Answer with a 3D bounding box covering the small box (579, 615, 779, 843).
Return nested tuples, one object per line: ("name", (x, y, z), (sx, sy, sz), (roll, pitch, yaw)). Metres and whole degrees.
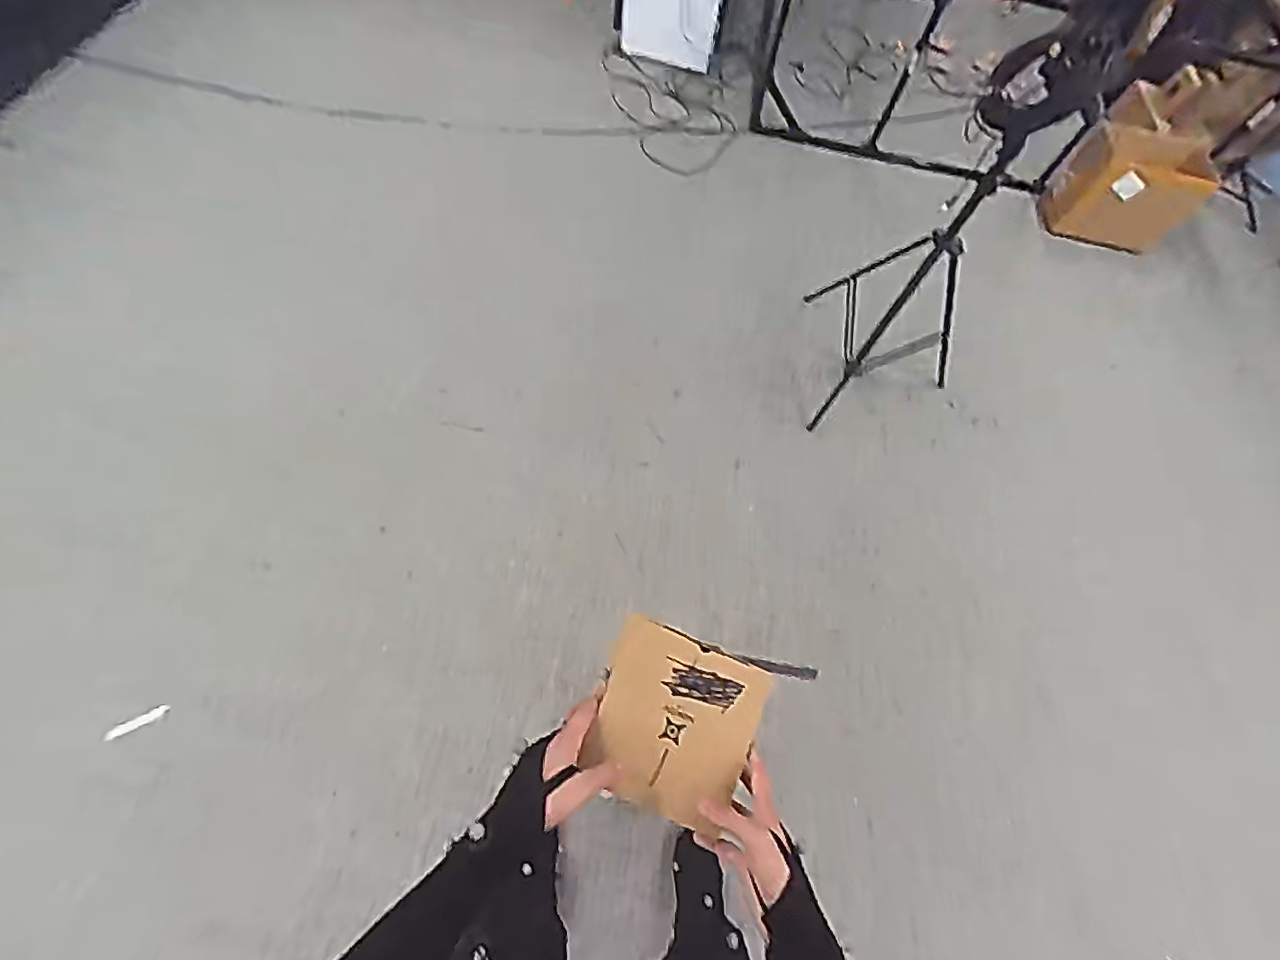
("small box", (0.035, 0.271, 0.635), (0.168, 0.176, 0.179), (24, 76, 0))
